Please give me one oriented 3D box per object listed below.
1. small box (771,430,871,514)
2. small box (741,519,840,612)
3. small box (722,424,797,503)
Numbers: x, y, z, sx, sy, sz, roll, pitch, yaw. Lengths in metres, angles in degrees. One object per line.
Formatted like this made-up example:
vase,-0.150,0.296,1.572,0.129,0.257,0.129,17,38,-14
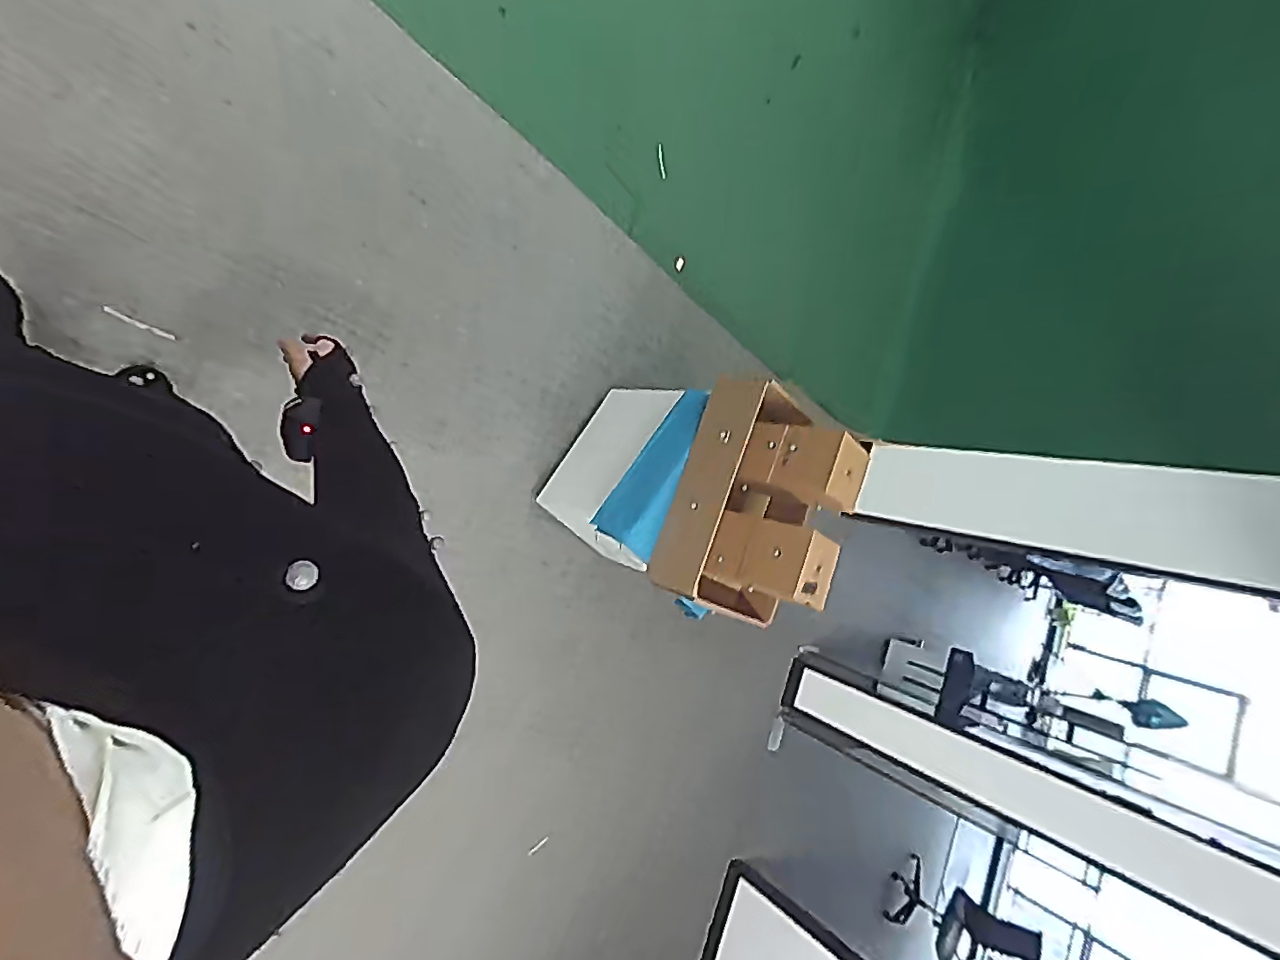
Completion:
small box,0.480,-0.026,1.436,0.179,0.176,0.168,28,80,-42
small box,0.384,0.218,1.394,0.168,0.176,0.179,28,78,-43
small box,0.366,-0.052,1.550,0.179,0.176,0.168,29,79,-43
